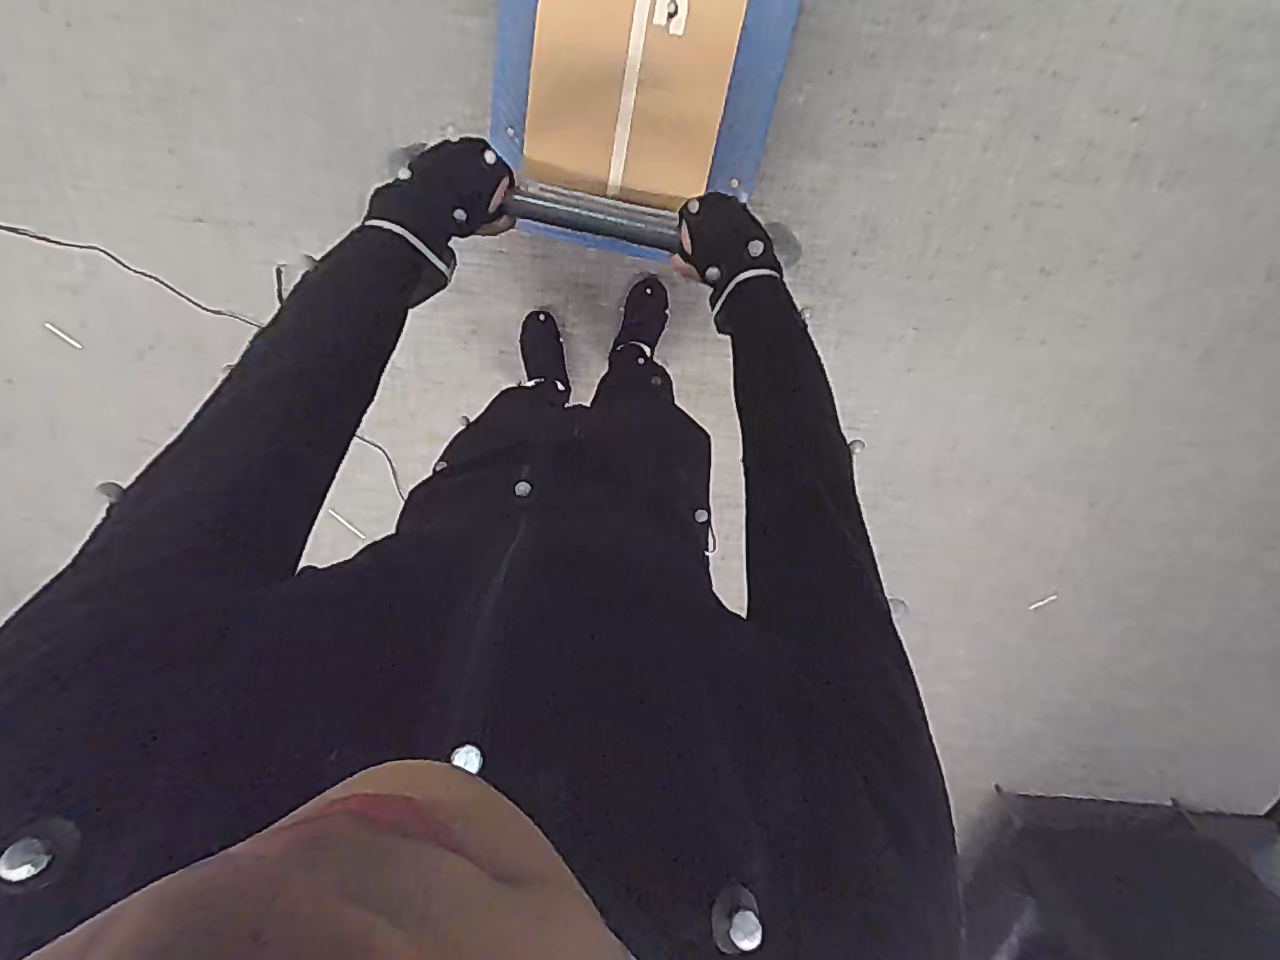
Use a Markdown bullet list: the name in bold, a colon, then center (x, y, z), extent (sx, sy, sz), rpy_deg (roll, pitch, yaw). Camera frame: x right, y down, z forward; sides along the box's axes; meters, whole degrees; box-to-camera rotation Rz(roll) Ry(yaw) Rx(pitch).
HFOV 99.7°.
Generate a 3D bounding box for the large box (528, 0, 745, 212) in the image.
- **large box**: center (-0.007, -0.742, 0.994), extent (0.320, 0.320, 0.408), rpy_deg (10, 114, -5)
